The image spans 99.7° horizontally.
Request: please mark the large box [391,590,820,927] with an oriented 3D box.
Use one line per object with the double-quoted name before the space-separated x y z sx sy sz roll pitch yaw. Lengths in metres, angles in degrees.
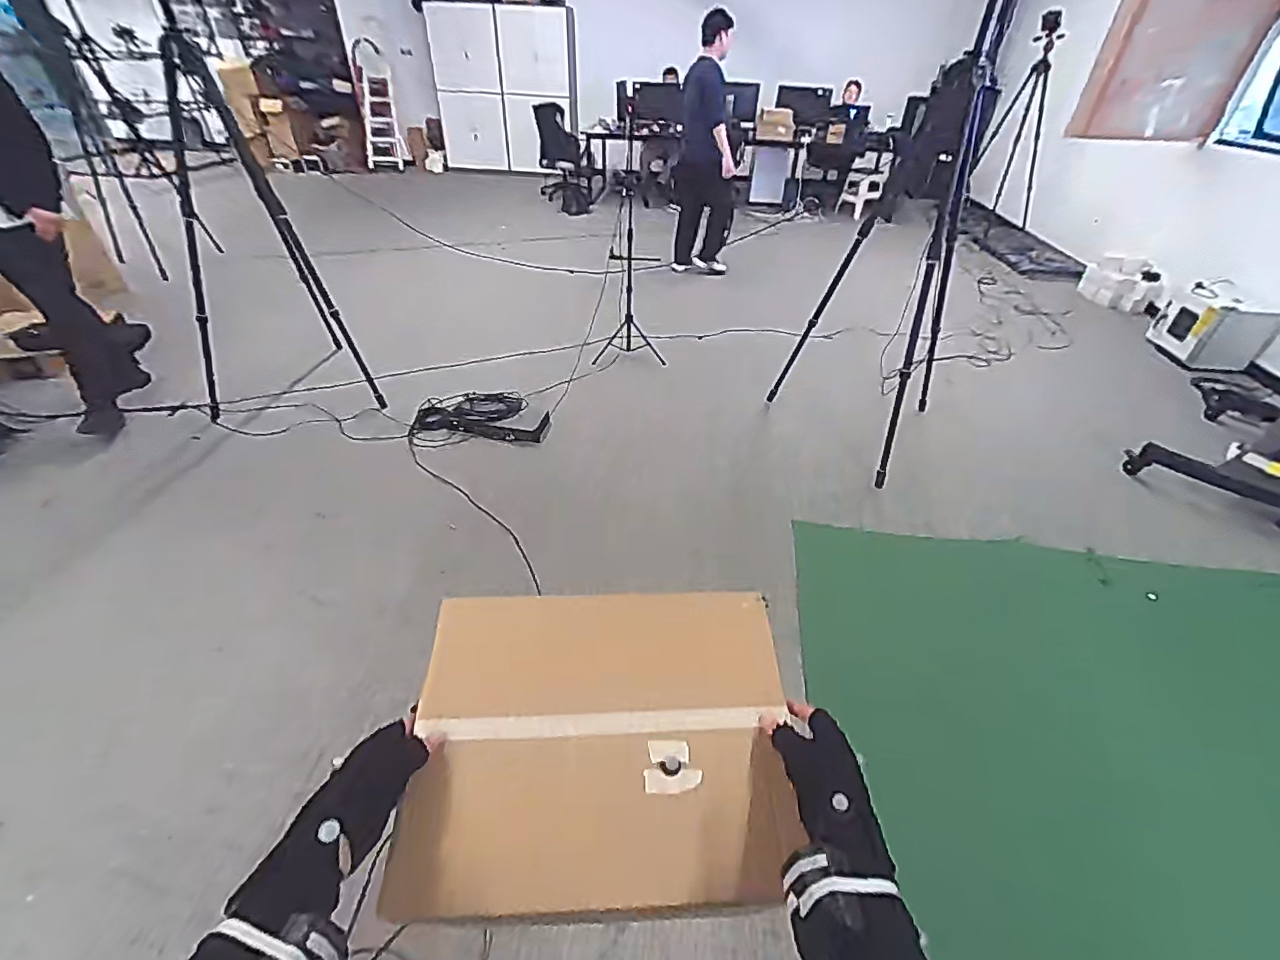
"large box" -0.043 0.359 0.700 0.408 0.320 0.320 0 49 -4
